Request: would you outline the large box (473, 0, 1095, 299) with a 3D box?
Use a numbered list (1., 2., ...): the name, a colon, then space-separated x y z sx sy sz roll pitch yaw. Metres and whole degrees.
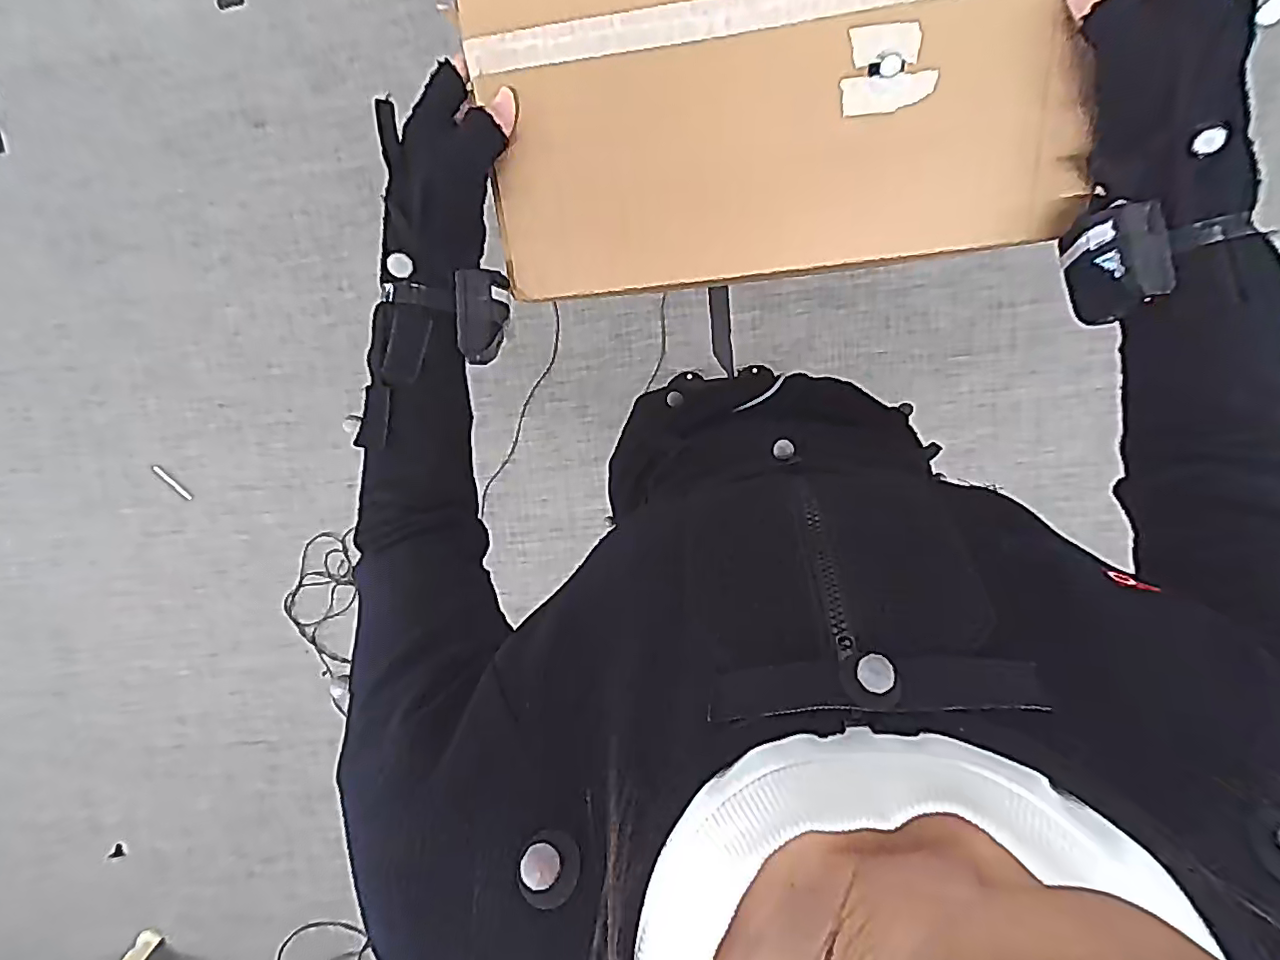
1. large box: 0.097 -0.353 0.495 0.408 0.320 0.320 -5 109 6
